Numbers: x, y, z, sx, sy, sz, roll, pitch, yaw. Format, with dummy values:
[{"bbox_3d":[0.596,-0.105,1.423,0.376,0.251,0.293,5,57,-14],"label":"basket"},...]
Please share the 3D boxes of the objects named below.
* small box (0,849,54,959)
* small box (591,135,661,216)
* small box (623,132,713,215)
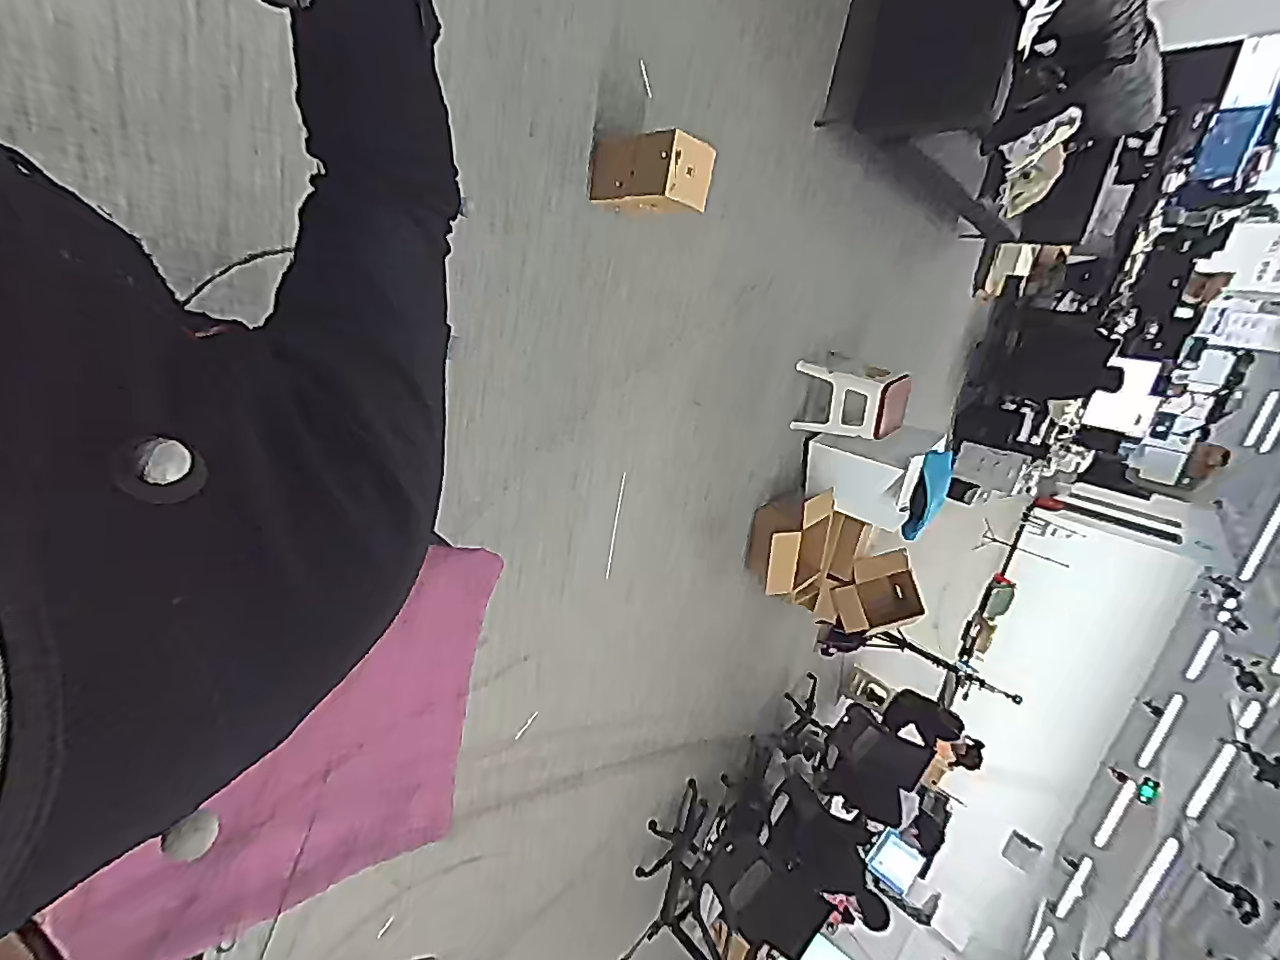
[{"bbox_3d":[-0.565,0.439,0.407,0.168,0.176,0.179,-1,109,-48],"label":"small box"},{"bbox_3d":[-0.034,-0.931,1.668,0.168,0.176,0.179,-6,113,-45],"label":"small box"},{"bbox_3d":[0.079,-0.879,1.560,0.179,0.176,0.168,-6,113,-46],"label":"small box"}]
